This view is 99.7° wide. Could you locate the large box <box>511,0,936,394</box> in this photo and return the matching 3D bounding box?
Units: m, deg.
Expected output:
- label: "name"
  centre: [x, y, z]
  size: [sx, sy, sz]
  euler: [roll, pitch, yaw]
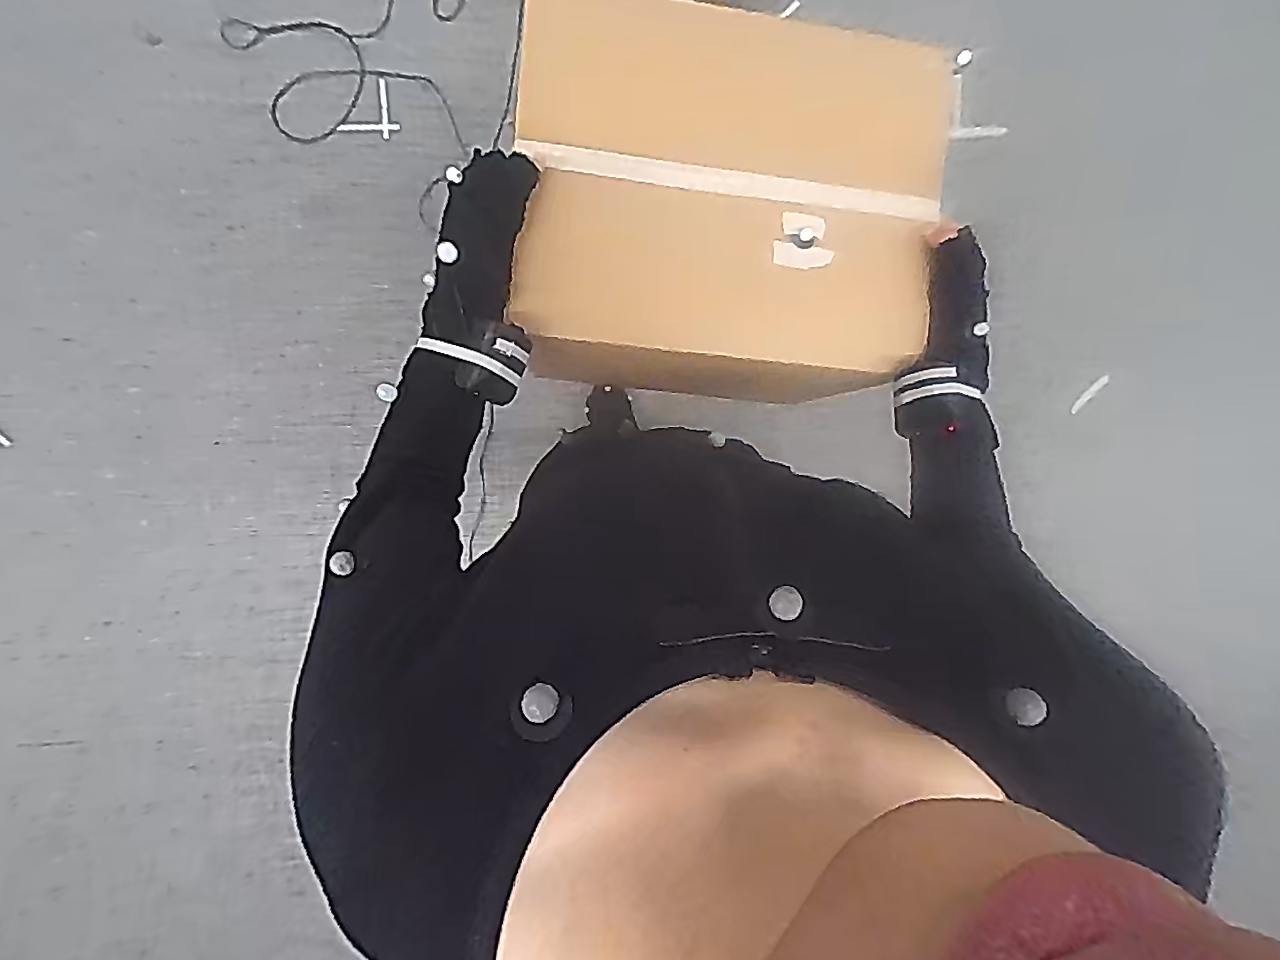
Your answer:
- label: "large box"
  centre: [0.068, -0.290, 0.660]
  size: [0.408, 0.320, 0.320]
  euler: [4, 93, -7]
